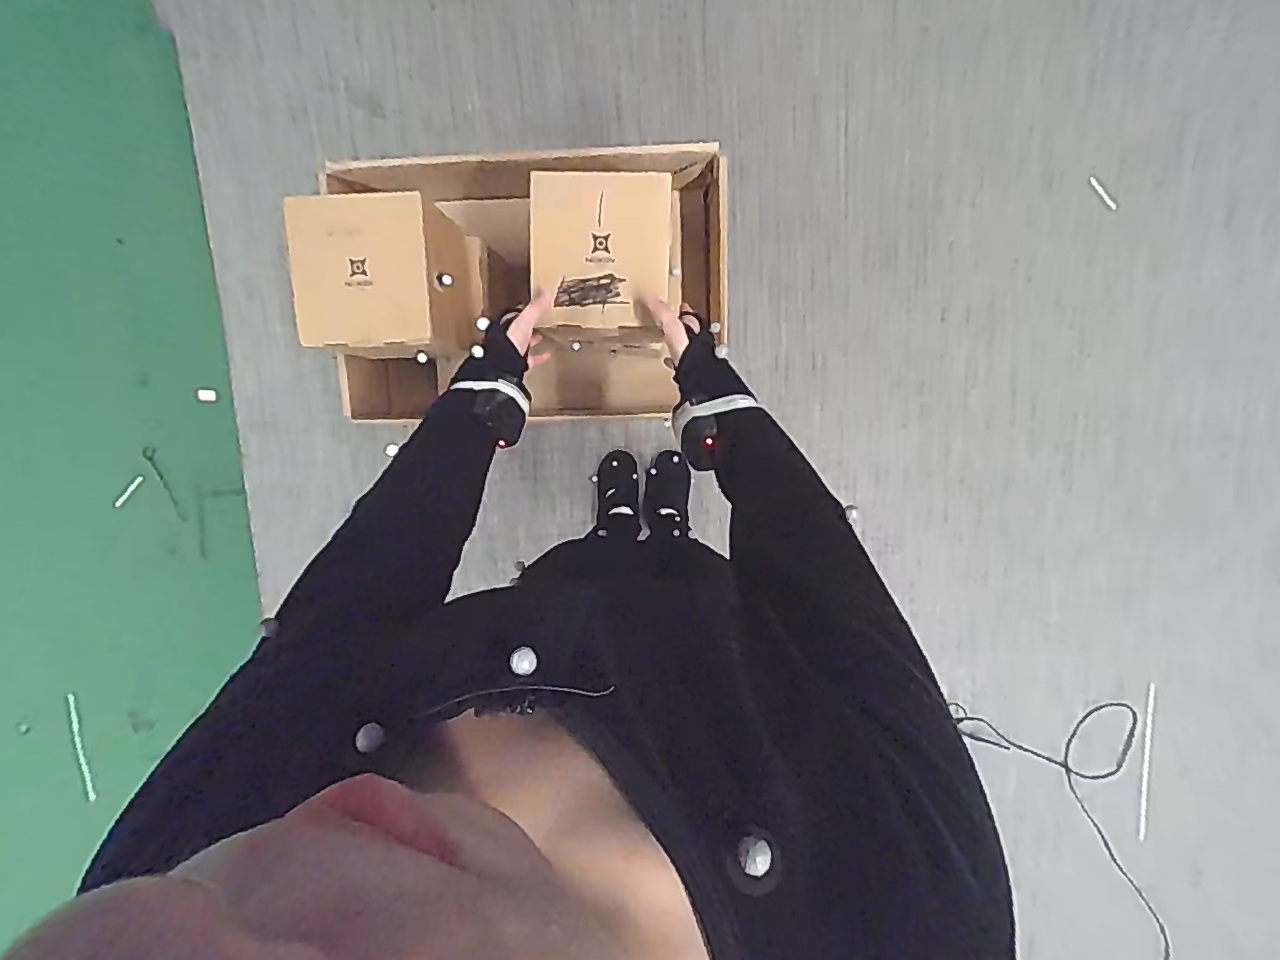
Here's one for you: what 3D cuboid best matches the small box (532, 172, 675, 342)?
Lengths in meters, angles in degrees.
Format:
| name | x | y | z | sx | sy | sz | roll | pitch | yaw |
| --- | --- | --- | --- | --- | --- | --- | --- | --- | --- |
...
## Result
| name | x | y | z | sx | sy | sz | roll | pitch | yaw |
| --- | --- | --- | --- | --- | --- | --- | --- | --- | --- |
| small box | -0.040 | -0.280 | 0.714 | 0.168 | 0.176 | 0.179 | 2 | 97 | 3 |

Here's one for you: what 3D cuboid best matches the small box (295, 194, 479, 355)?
| name | x | y | z | sx | sy | sz | roll | pitch | yaw |
| --- | --- | --- | --- | --- | --- | --- | --- | --- | --- |
| small box | -0.327 | -0.264 | 0.734 | 0.168 | 0.176 | 0.179 | 0 | 98 | 3 |
